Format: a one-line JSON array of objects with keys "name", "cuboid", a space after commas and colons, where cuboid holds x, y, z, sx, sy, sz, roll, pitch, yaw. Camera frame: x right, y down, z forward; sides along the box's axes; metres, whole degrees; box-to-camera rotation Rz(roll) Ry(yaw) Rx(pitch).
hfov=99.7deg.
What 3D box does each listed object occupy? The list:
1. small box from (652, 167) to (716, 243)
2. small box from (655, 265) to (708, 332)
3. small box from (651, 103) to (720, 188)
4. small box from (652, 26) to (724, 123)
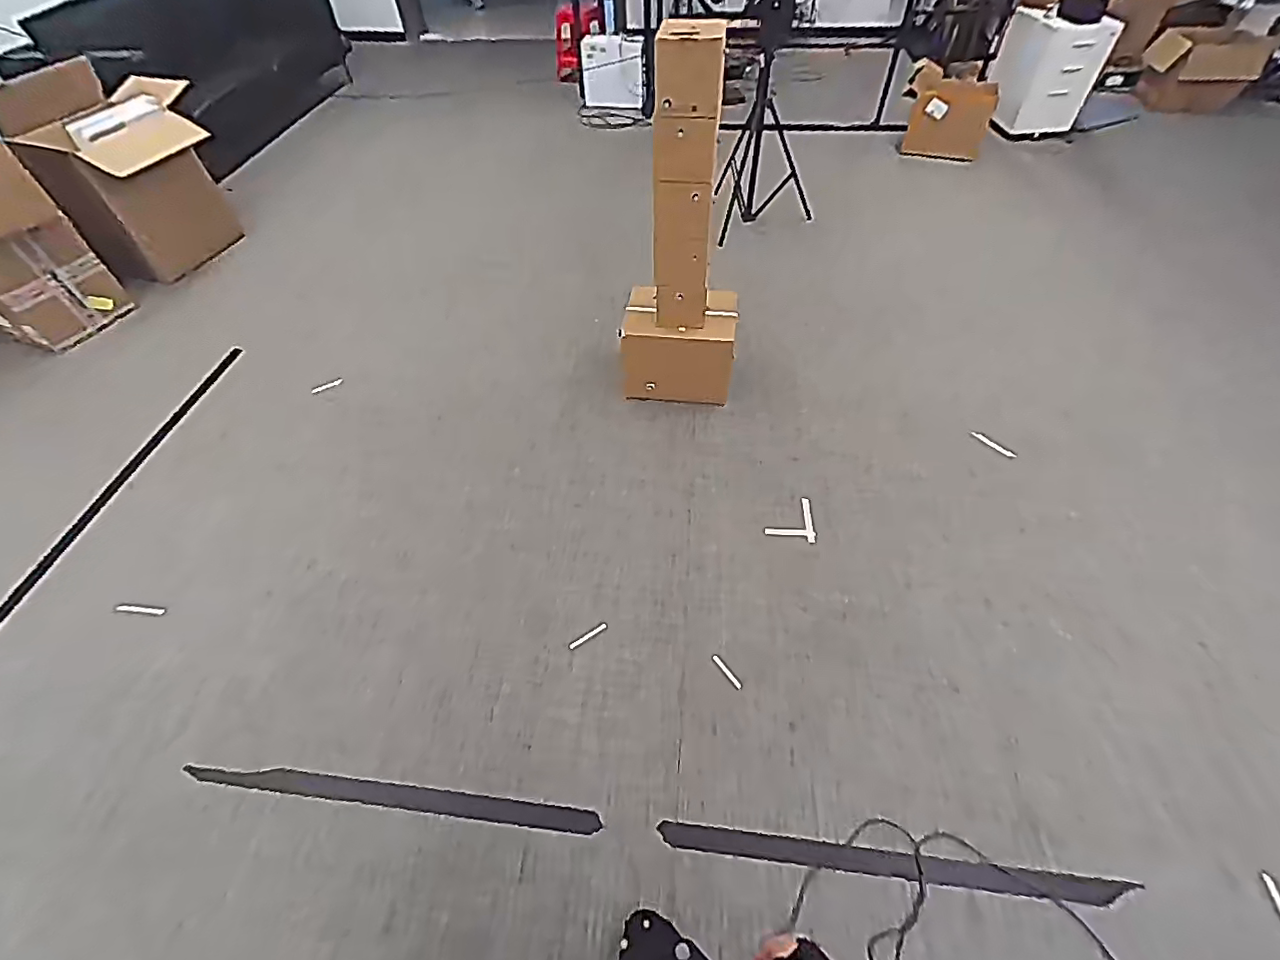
[{"name": "small box", "cuboid": [0.134, -0.850, 1.665, 0.179, 0.176, 0.168, 6, 52, 7]}, {"name": "small box", "cuboid": [0.146, -0.643, 1.920, 0.179, 0.176, 0.168, 4, 53, 4]}, {"name": "small box", "cuboid": [0.129, -0.952, 1.539, 0.179, 0.176, 0.168, 6, 53, 7]}, {"name": "small box", "cuboid": [0.127, -1.055, 1.411, 0.168, 0.176, 0.179, 6, 52, 7]}]
